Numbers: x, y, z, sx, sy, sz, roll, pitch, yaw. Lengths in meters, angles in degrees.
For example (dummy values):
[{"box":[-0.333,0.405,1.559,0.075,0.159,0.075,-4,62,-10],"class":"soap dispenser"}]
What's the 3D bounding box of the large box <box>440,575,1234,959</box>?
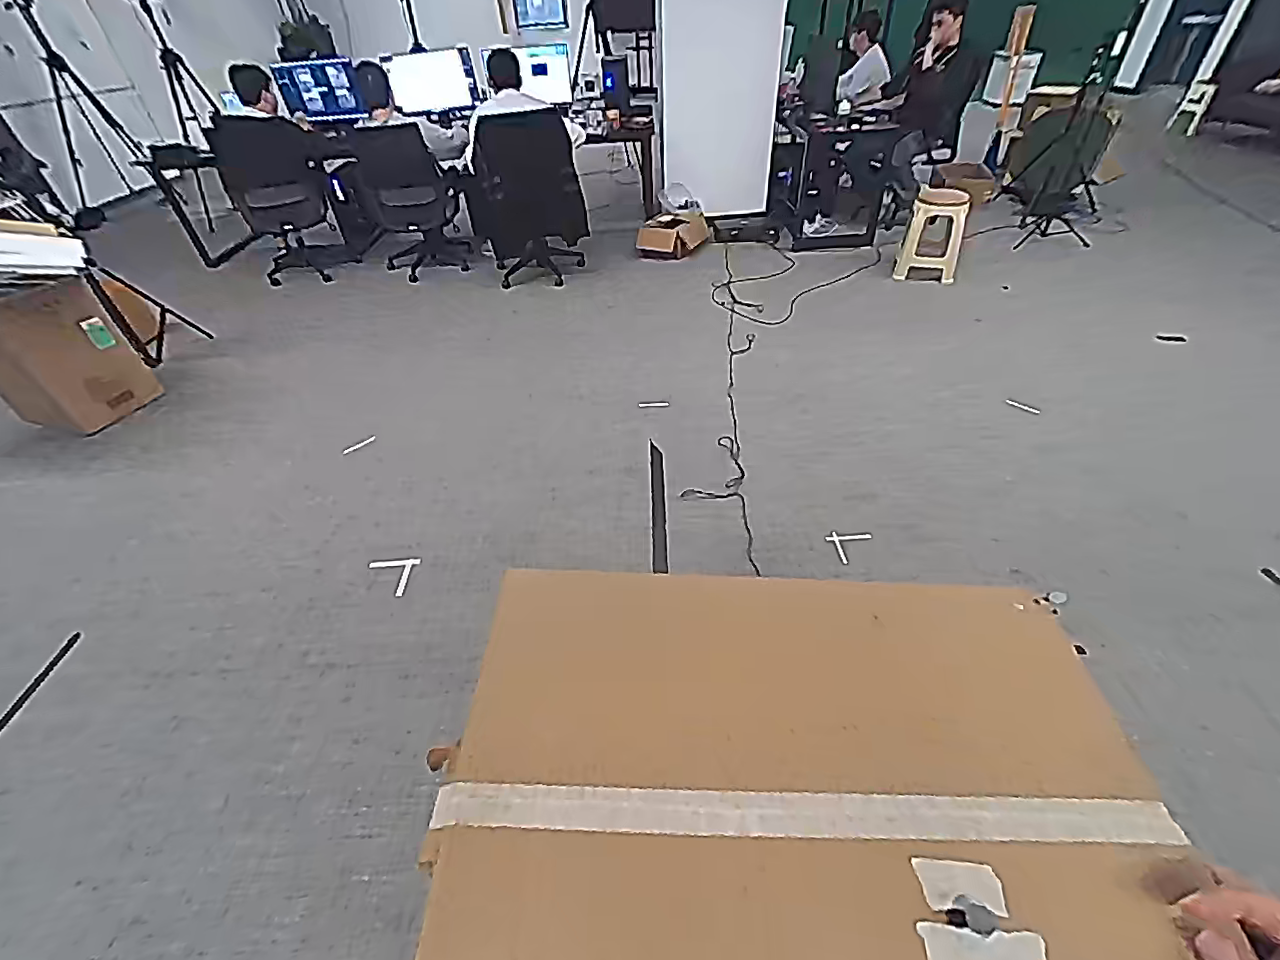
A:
[{"box":[0.092,0.293,0.418,0.408,0.320,0.320,3,46,-1],"class":"large box"}]
